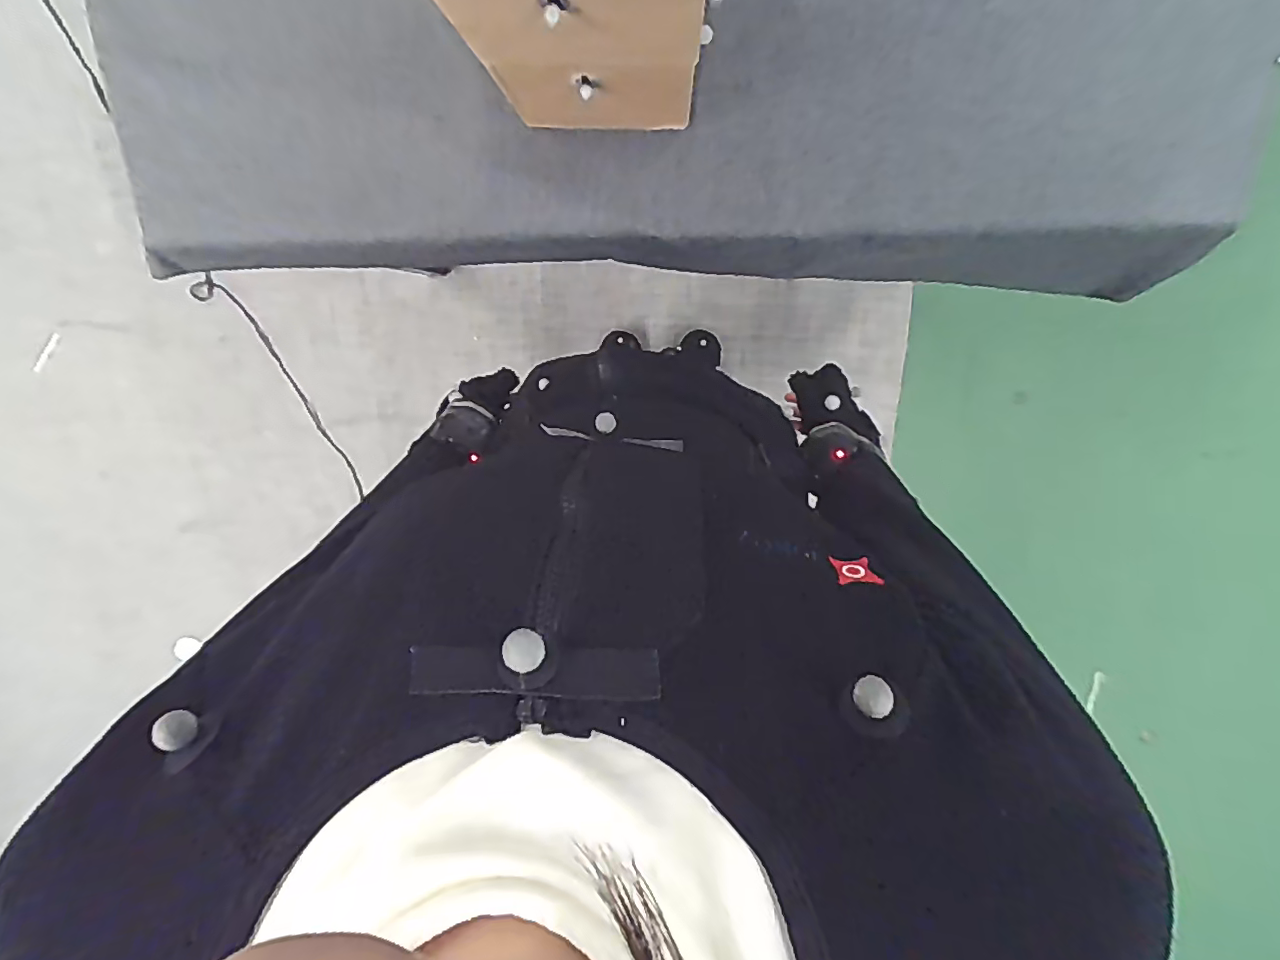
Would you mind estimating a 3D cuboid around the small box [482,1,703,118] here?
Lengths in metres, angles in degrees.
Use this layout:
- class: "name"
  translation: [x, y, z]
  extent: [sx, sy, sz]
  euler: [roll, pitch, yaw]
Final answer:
- class: "small box"
  translation: [-0.032, -0.438, 0.475]
  extent: [0.179, 0.176, 0.168]
  euler: [1, 108, 3]

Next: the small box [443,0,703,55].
- class: "small box"
  translation: [-0.043, -0.384, 0.320]
  extent: [0.179, 0.176, 0.168]
  euler: [3, 108, 5]
